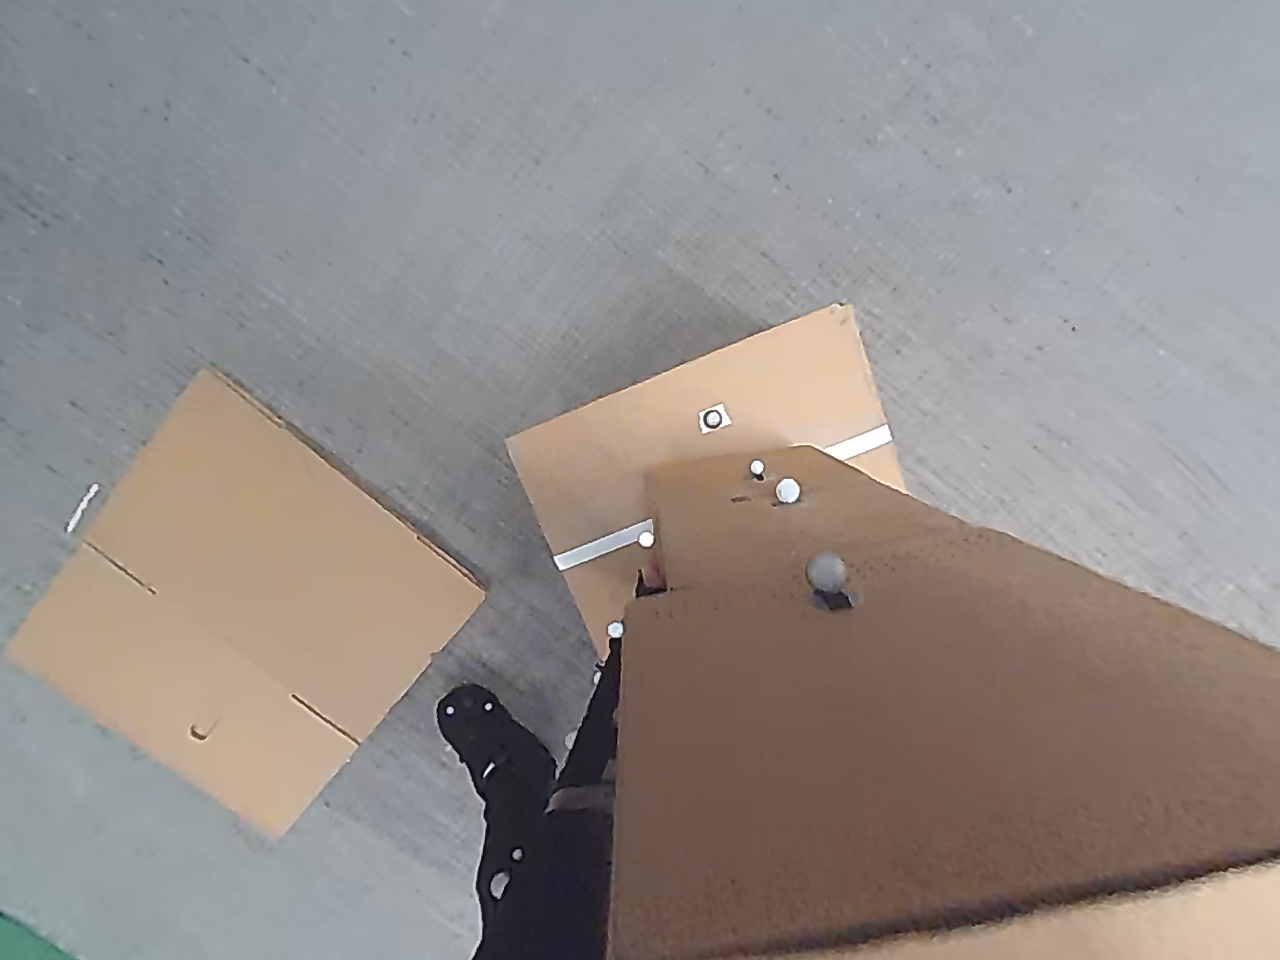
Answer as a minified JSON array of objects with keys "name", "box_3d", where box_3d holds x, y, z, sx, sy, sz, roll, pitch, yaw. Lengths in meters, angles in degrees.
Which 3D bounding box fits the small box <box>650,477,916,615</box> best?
[{"name":"small box","box_3d":[0.102,0.111,0.358,0.168,0.176,0.179,-11,103,2]}]

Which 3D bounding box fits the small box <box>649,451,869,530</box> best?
[{"name":"small box","box_3d":[0.104,0.072,0.518,0.179,0.176,0.168,-8,101,3]}]
